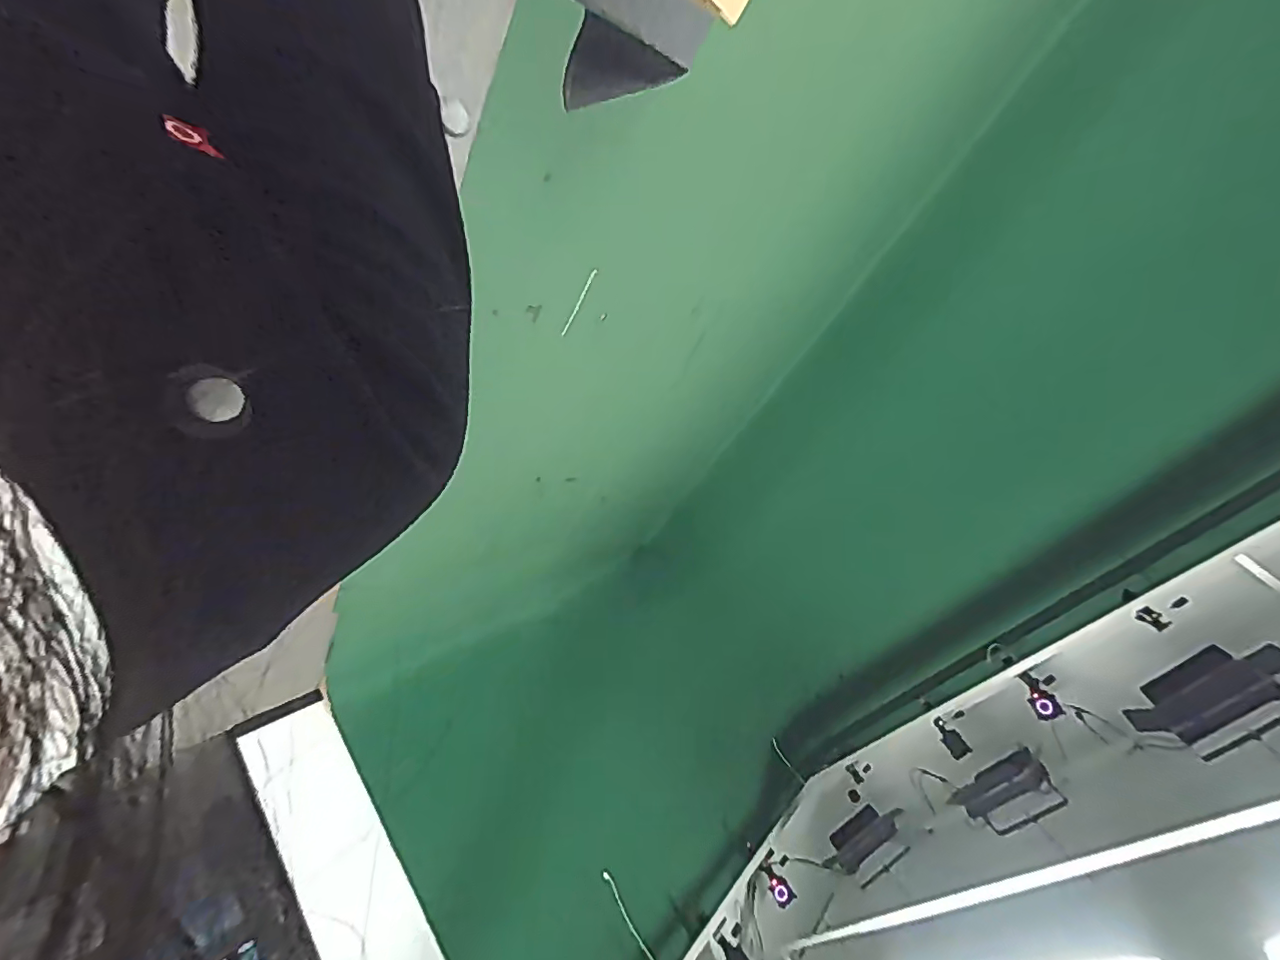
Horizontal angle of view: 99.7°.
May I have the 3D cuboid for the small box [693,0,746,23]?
[{"bbox_3d":[0.055,-0.654,0.571,0.168,0.176,0.179,-13,146,-51],"label":"small box"}]
